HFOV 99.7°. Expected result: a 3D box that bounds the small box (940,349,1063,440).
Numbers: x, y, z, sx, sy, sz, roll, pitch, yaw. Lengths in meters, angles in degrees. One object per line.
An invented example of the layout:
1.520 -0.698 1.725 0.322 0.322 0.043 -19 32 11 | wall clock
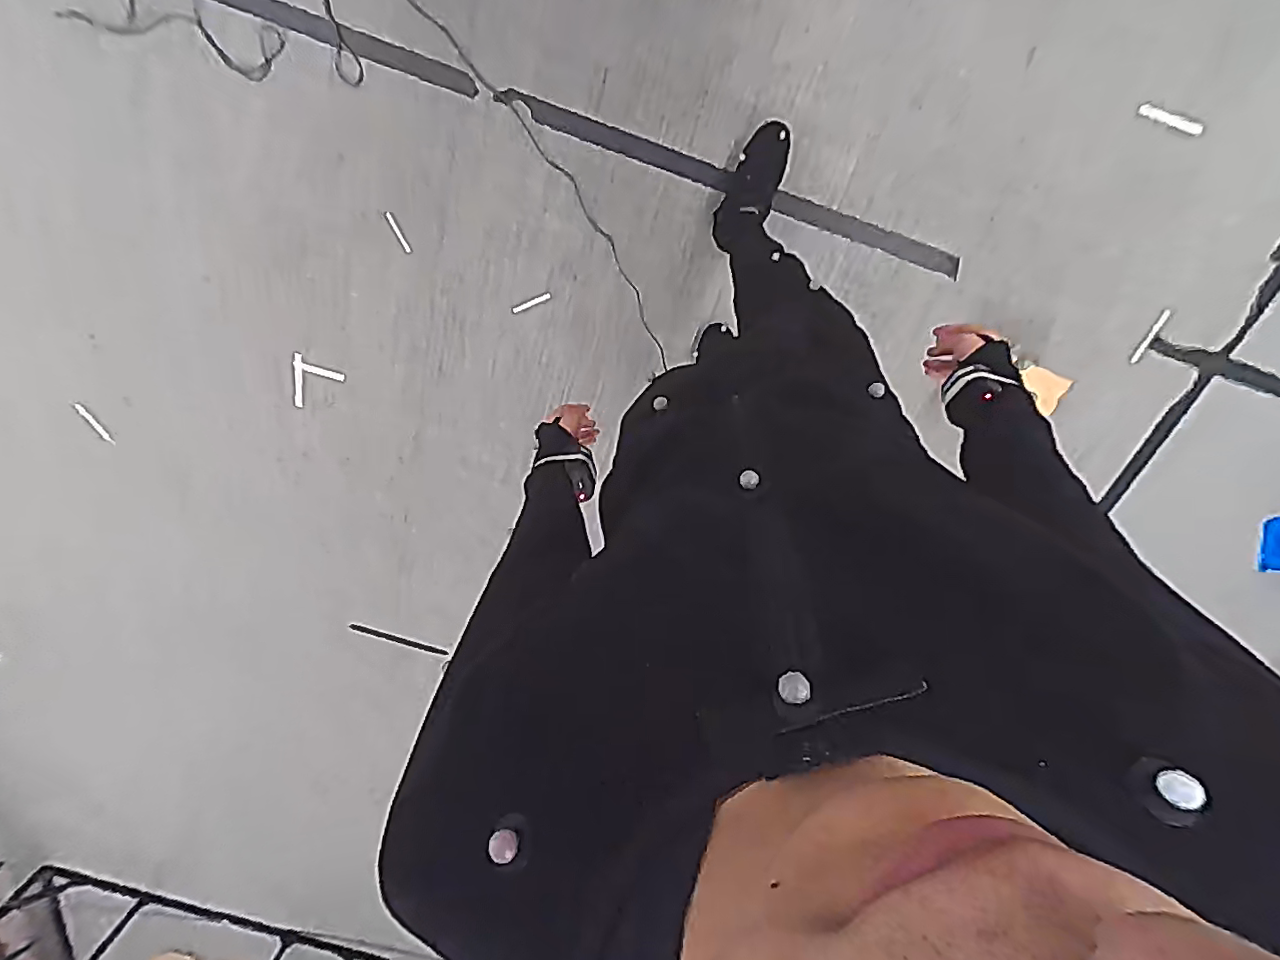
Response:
0.936 -0.231 1.420 0.179 0.176 0.168 21 115 -5 | small box
